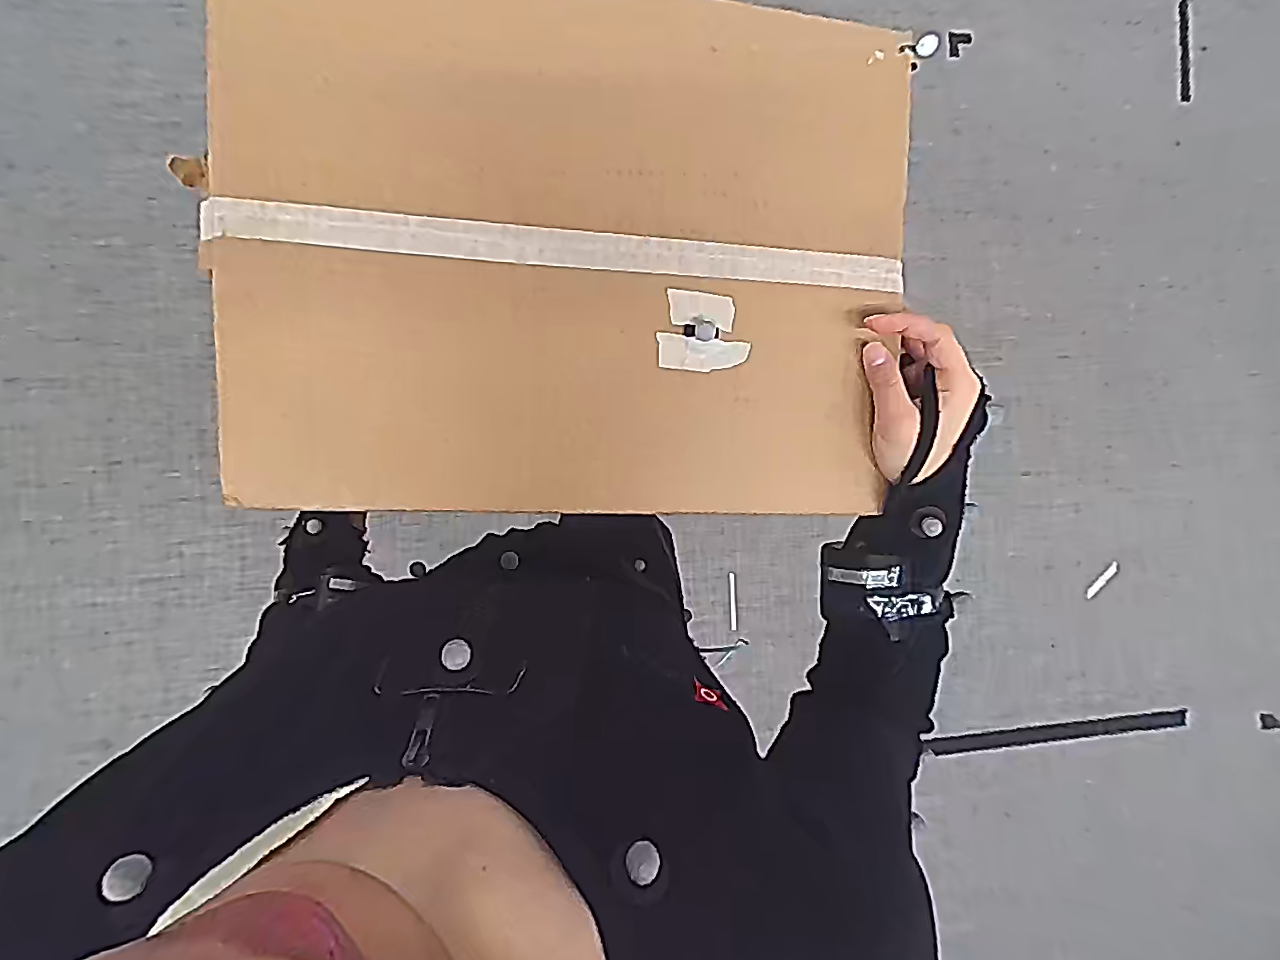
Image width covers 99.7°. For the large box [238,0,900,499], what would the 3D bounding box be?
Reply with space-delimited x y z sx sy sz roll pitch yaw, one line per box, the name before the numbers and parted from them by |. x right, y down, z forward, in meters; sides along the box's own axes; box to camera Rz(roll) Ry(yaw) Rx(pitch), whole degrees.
large box | -0.052 -0.154 0.477 0.408 0.320 0.320 1 94 -11
